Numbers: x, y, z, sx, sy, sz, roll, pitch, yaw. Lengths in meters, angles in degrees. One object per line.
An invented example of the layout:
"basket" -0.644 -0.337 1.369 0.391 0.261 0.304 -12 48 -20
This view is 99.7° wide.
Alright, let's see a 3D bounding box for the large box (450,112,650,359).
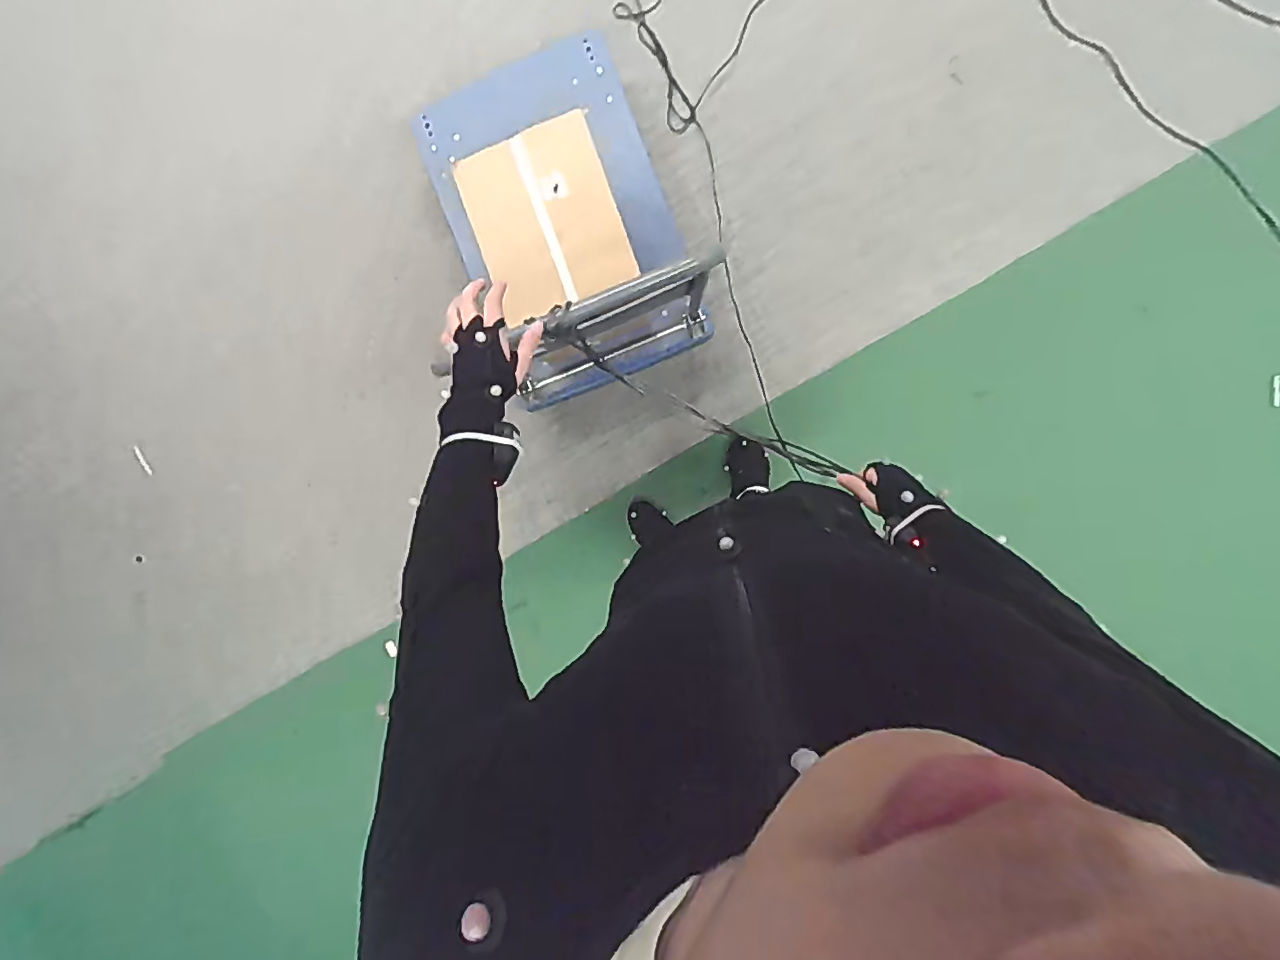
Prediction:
"large box" -0.194 -0.559 1.319 0.320 0.320 0.408 -20 90 4
